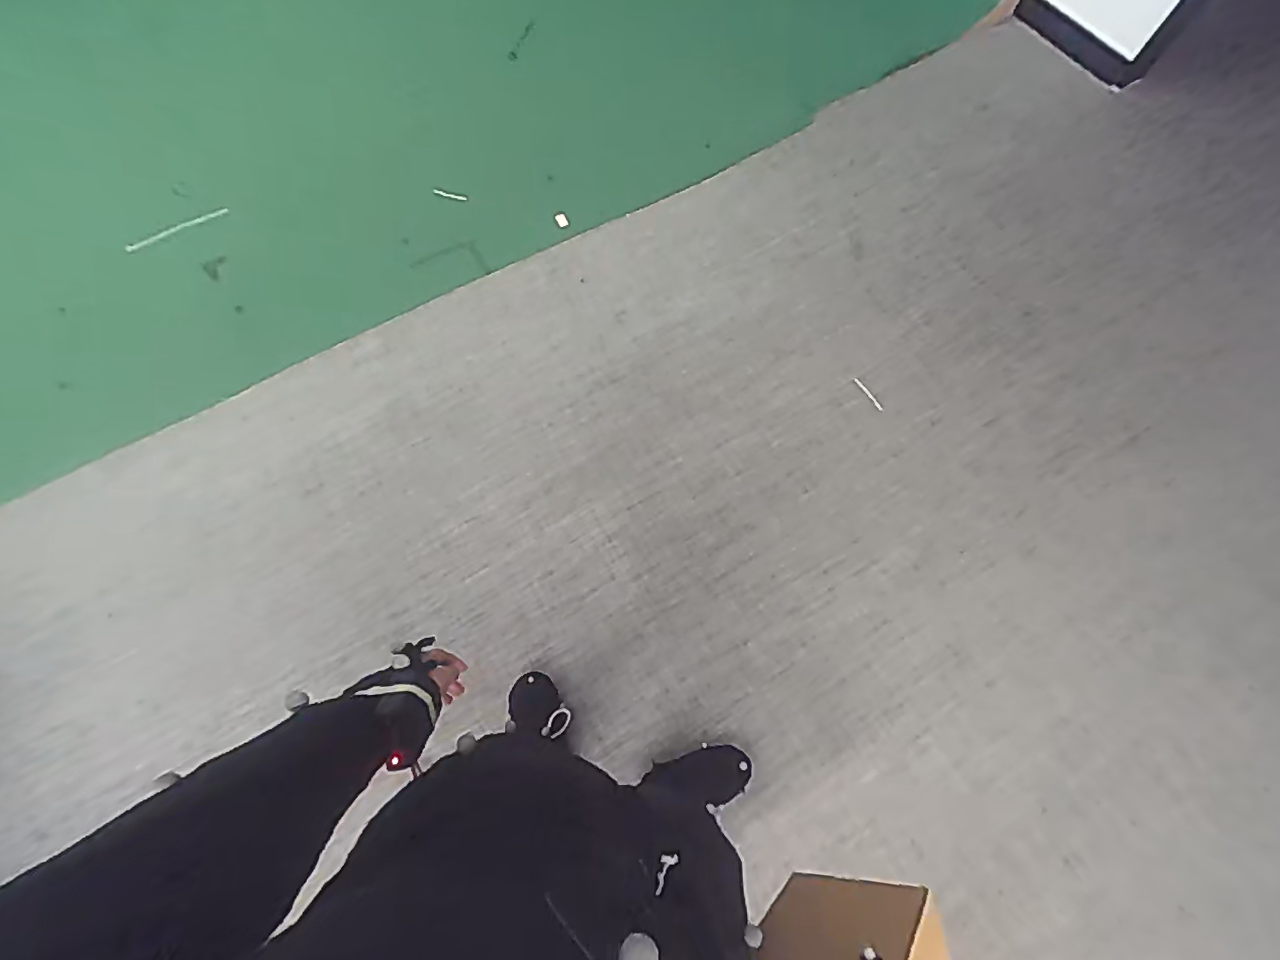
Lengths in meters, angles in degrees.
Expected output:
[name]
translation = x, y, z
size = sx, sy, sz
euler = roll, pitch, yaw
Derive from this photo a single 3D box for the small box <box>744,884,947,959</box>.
[small box]
translation = 0.225, 0.562, 0.564
size = 0.176, 0.179, 0.168
euler = -21, 77, 35
